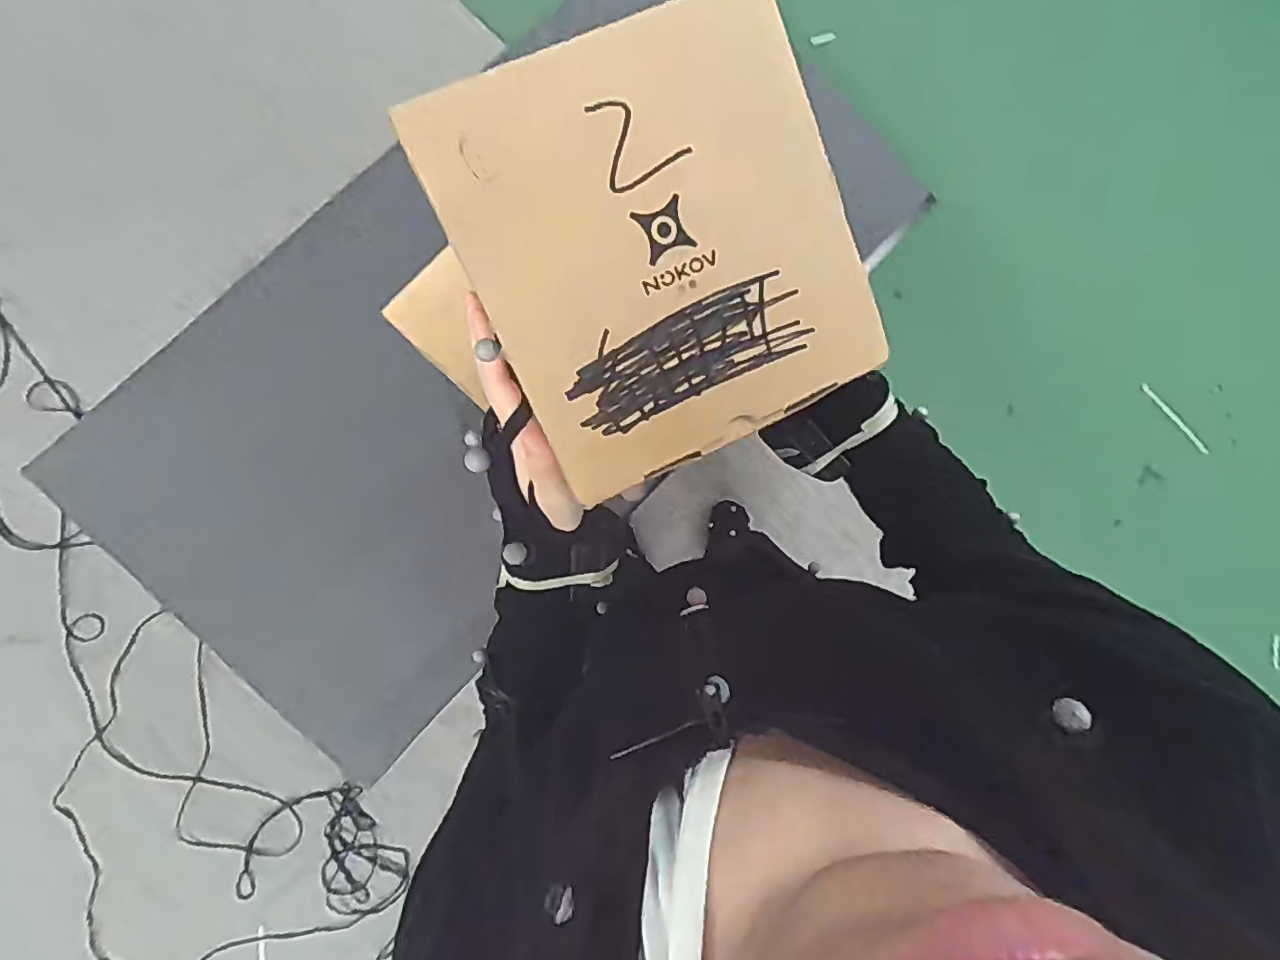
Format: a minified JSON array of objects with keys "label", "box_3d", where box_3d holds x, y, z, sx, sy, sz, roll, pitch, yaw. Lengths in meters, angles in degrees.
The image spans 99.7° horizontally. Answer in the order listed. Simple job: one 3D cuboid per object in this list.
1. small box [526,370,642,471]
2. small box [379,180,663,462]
[{"label":"small box","box_3d":[-0.121,-0.124,0.686,0.179,0.176,0.168,43,85,-2]},{"label":"small box","box_3d":[-0.104,-0.132,0.525,0.179,0.176,0.168,43,84,-2]}]
